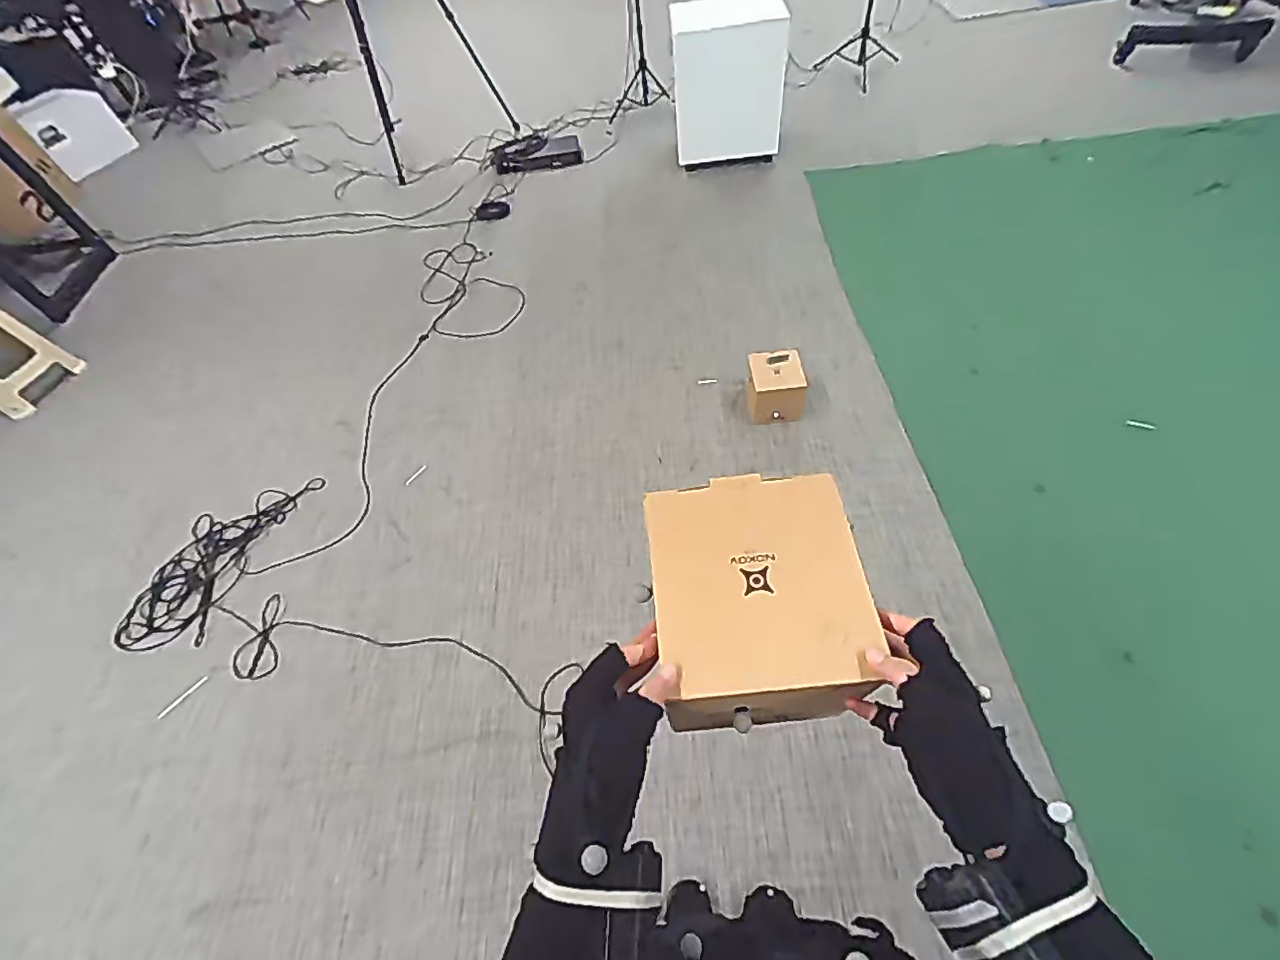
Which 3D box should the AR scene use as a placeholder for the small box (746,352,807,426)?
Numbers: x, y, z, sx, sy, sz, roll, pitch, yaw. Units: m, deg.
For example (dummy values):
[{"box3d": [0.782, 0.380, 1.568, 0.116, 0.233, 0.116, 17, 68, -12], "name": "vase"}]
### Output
[{"box3d": [0.456, -0.307, 1.836, 0.168, 0.176, 0.179, -6, 56, 3], "name": "small box"}]
